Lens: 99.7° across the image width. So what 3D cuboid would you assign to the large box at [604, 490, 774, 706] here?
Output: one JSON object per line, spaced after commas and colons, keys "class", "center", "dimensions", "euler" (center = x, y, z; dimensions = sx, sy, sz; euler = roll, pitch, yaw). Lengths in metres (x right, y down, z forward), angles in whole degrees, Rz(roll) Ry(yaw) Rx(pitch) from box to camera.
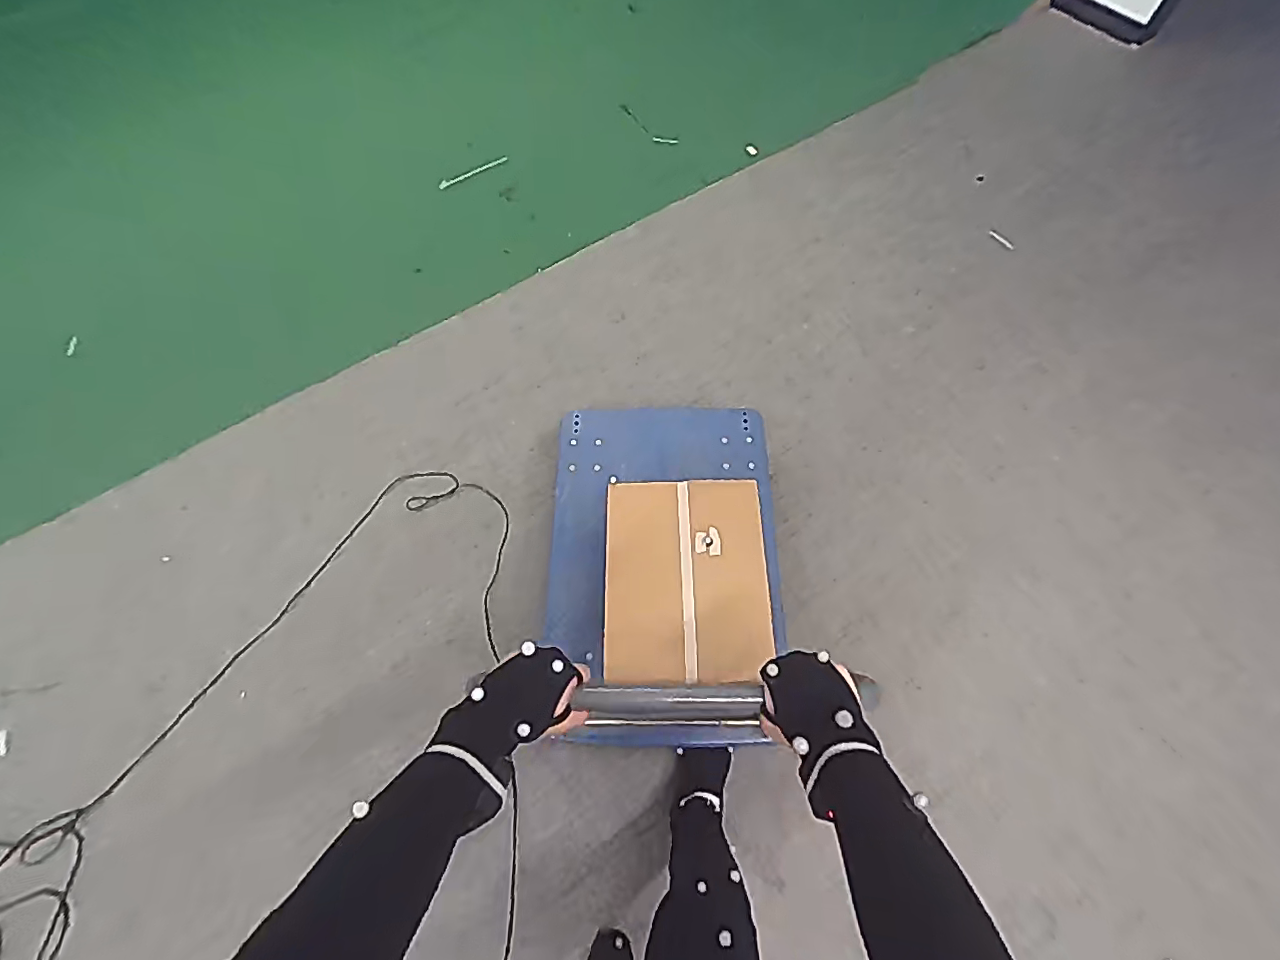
{"class": "large box", "center": [0.094, 0.271, 1.198], "dimensions": [0.320, 0.320, 0.408], "euler": [-1, 63, 1]}
